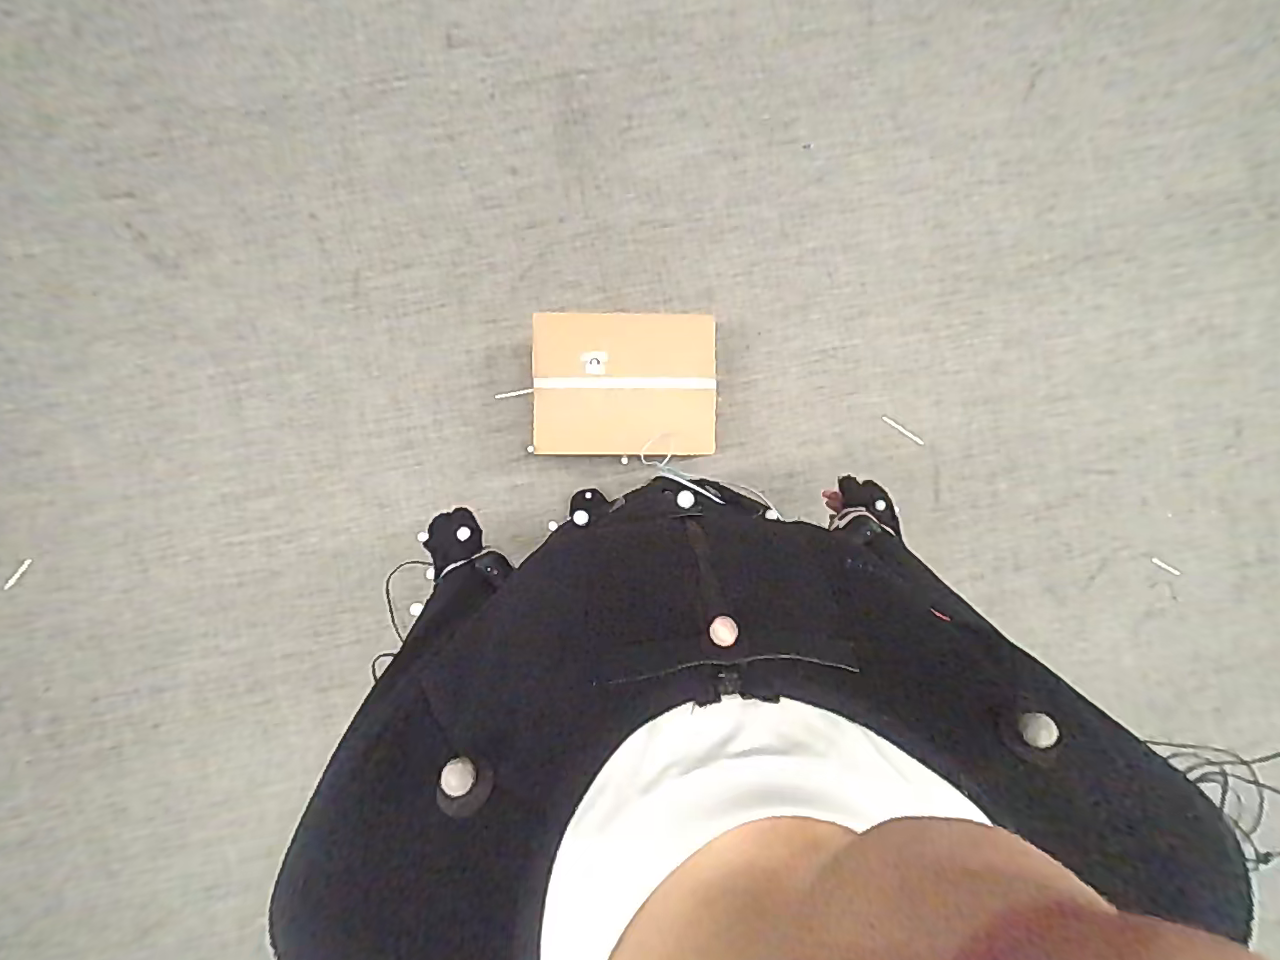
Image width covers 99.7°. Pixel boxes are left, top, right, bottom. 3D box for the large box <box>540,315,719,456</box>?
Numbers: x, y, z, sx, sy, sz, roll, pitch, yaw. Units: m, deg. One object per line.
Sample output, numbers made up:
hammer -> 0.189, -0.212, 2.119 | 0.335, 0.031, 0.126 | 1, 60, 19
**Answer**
large box -> -0.024, -0.218, 1.357 | 0.408, 0.320, 0.320 | 0, 91, -1
